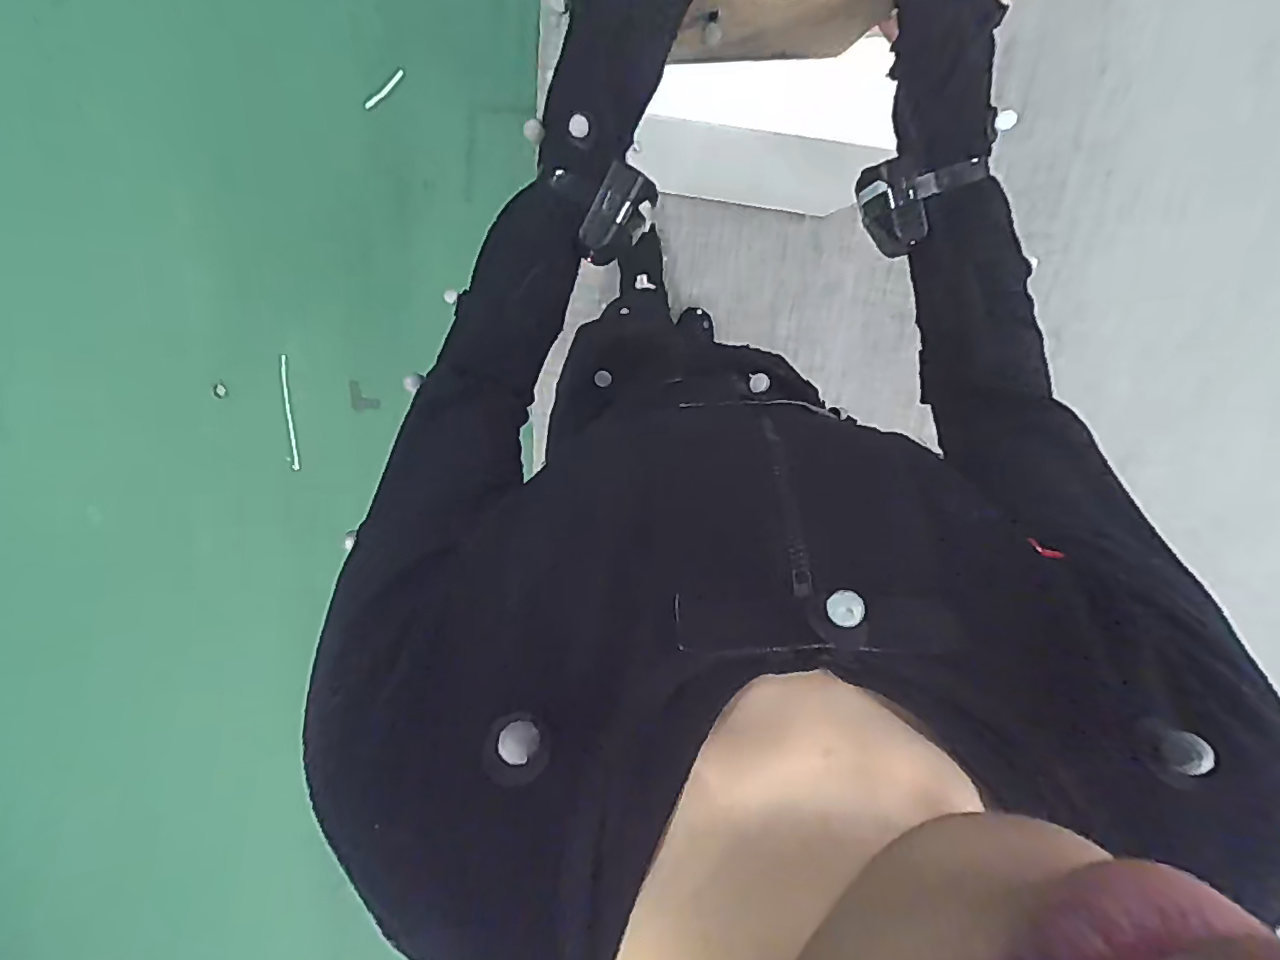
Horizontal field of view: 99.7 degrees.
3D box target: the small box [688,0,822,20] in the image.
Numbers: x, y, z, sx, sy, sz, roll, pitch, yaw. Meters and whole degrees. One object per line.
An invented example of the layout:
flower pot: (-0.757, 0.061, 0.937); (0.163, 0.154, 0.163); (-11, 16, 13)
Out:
small box: (0.135, -0.630, 0.567); (0.168, 0.176, 0.179); (0, 109, 1)
